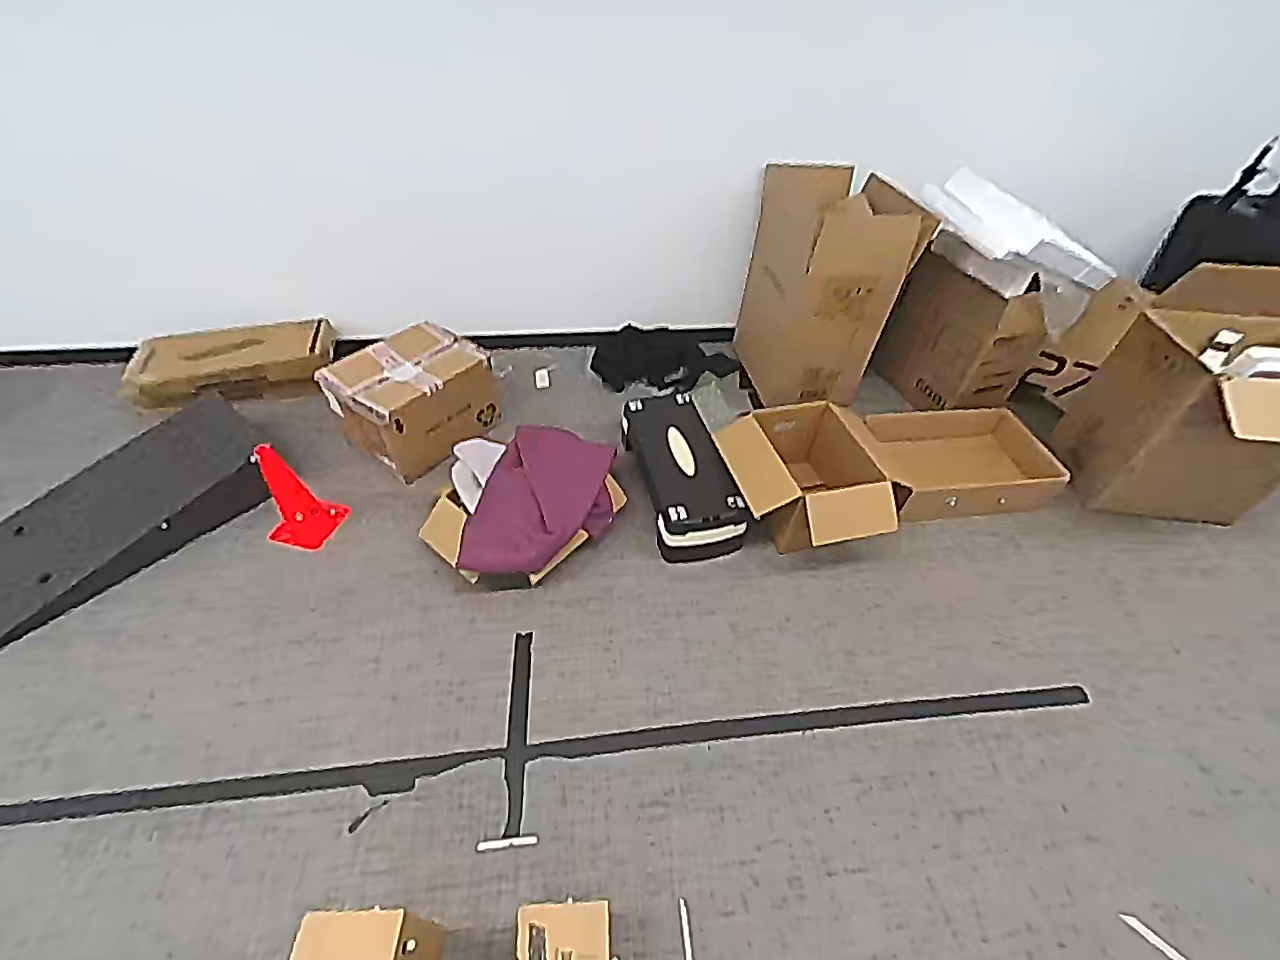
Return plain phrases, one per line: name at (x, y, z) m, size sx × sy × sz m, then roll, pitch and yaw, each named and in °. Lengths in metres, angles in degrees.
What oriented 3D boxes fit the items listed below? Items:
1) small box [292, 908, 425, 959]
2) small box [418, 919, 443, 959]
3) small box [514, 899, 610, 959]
small box at (-0.474, 0.836, 0.900) m, size 0.168 × 0.176 × 0.179 m, roll 0°, pitch 46°, yaw -2°
small box at (-0.480, 0.954, 1.017) m, size 0.168 × 0.176 × 0.179 m, roll -4°, pitch 47°, yaw -6°
small box at (-0.148, 0.935, 1.052) m, size 0.179 × 0.176 × 0.168 m, roll -1°, pitch 46°, yaw -4°
